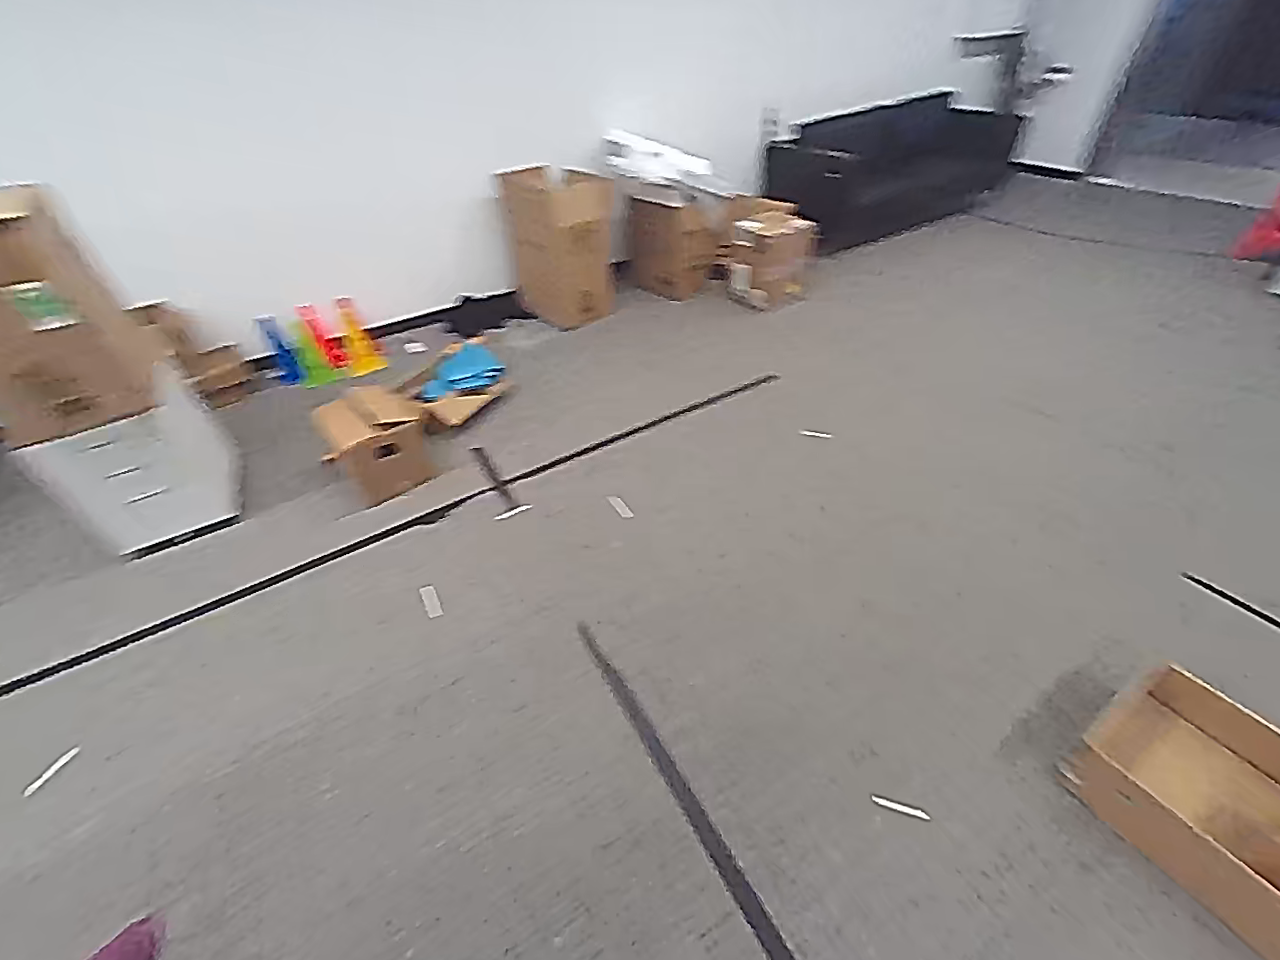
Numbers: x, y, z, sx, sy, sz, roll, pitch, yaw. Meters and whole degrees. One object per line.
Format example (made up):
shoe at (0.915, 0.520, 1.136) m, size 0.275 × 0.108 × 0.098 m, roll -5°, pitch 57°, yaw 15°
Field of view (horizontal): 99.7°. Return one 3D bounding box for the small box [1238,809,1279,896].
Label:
small box at (1.420, 0.795, 1.115) m, size 0.168 × 0.176 × 0.179 m, roll -27°, pitch 43°, yaw -25°
